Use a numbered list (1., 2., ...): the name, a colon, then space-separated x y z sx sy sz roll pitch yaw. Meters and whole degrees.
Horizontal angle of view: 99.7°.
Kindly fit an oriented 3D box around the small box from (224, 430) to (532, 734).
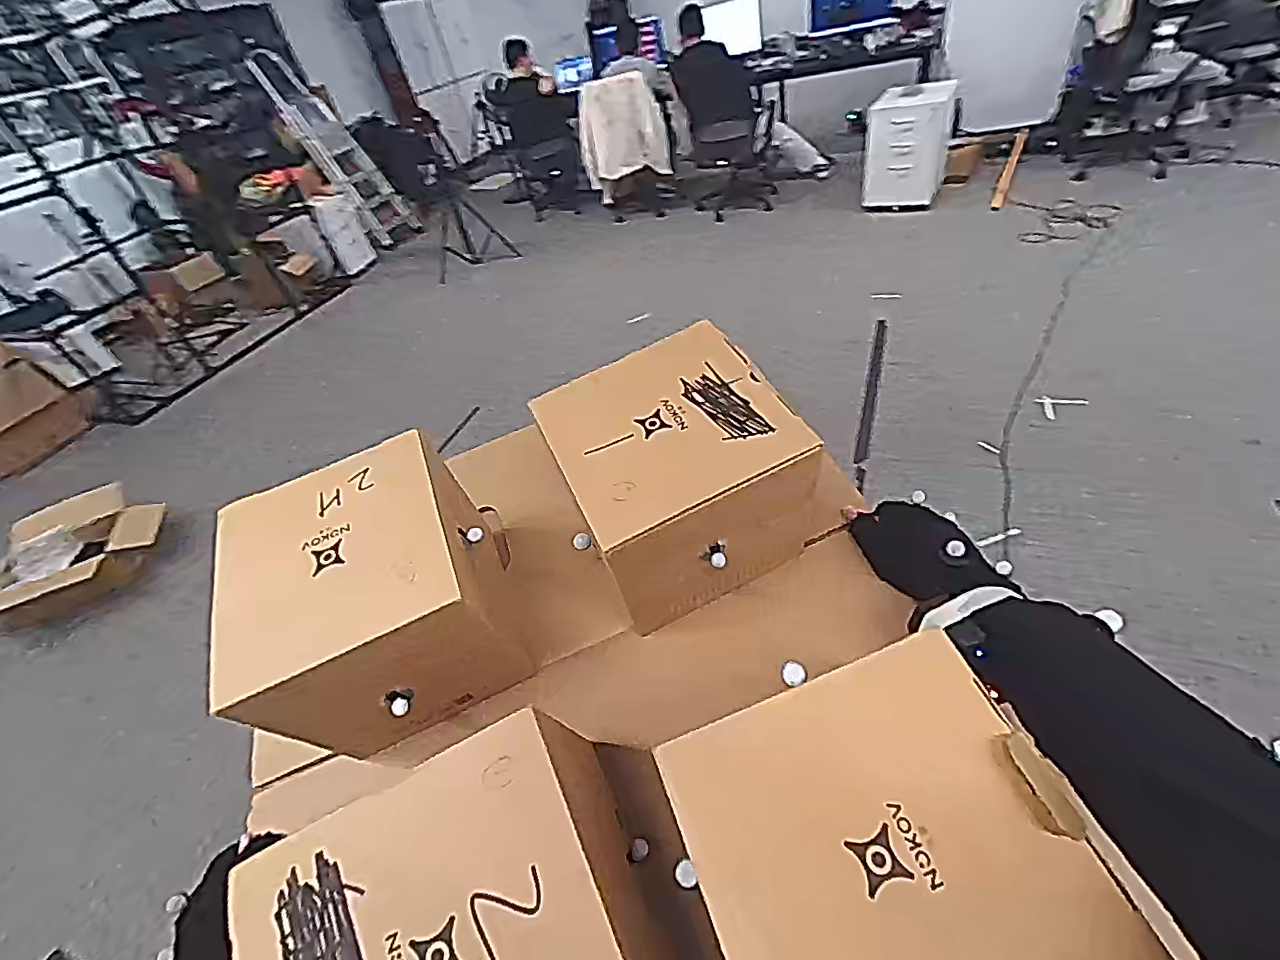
1. small box: -0.208 0.095 0.463 0.168 0.176 0.179 -23 53 -7

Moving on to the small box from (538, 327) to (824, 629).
1. small box: 0.035 0.003 0.483 0.179 0.176 0.168 -25 54 -6
